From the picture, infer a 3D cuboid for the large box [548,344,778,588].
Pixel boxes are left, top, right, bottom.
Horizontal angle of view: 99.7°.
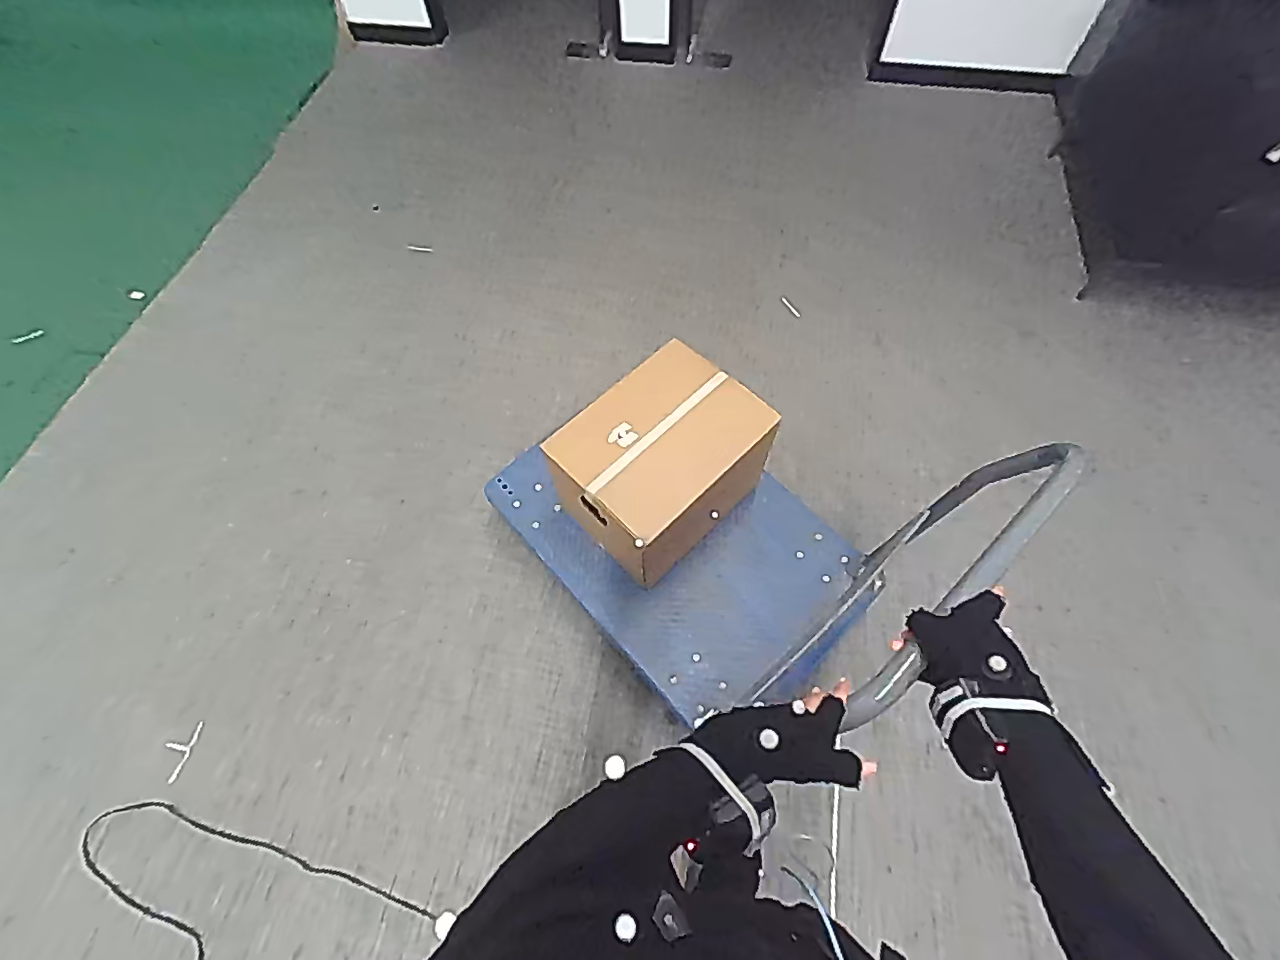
[{"bbox_3d":[0.057,-0.024,1.256,0.320,0.320,0.408,40,72,21],"label":"large box"}]
